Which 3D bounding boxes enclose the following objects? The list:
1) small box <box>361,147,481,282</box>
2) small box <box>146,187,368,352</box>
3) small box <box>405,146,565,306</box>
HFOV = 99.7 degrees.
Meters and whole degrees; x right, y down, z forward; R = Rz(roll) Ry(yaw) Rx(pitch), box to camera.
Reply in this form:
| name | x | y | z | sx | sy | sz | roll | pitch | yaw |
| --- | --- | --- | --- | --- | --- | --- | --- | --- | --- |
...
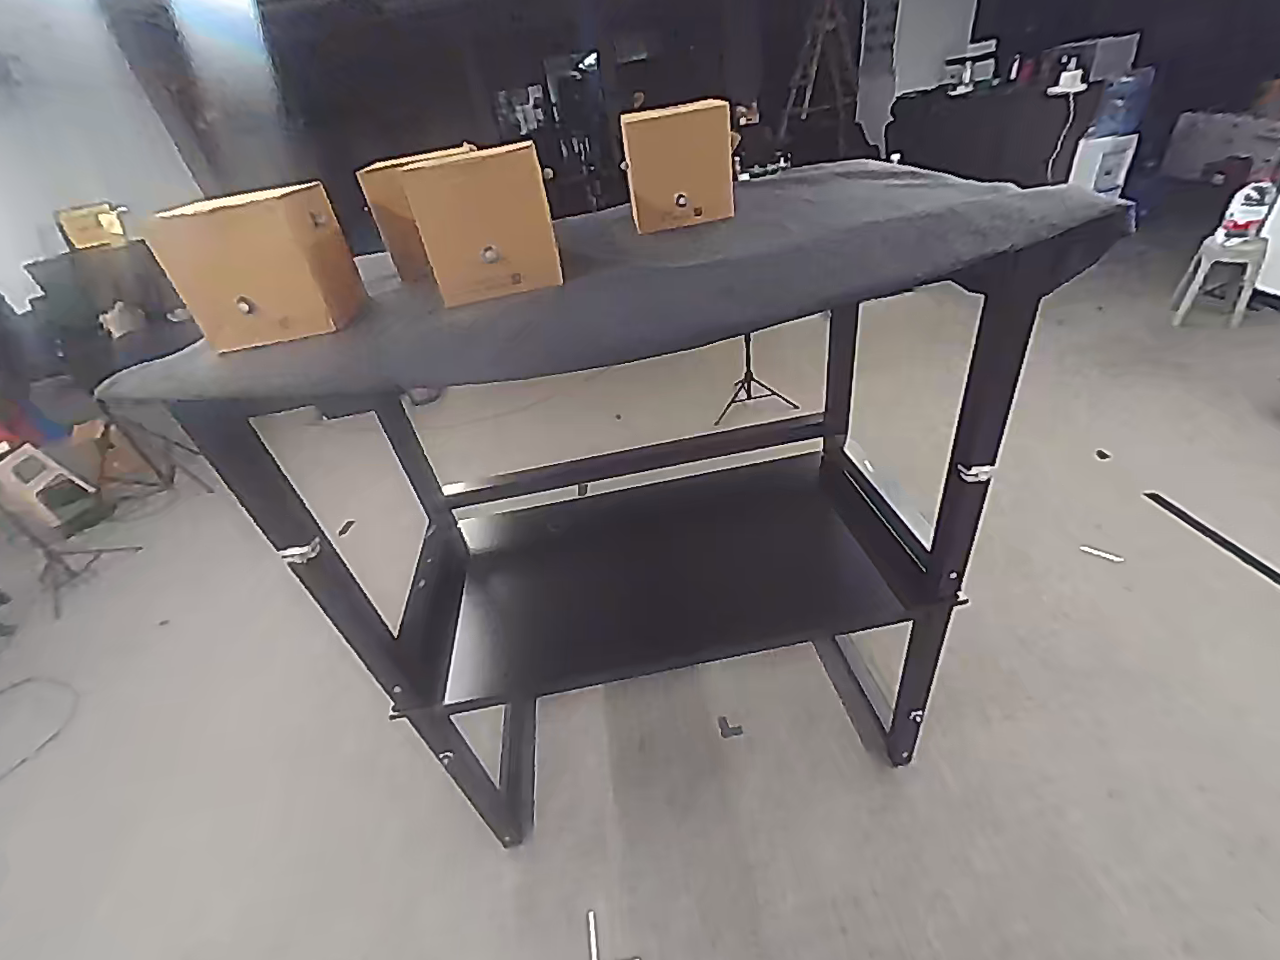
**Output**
| name | x | y | z | sx | sy | sz | roll | pitch | yaw |
| --- | --- | --- | --- | --- | --- | --- | --- | --- | --- |
| small box | -0.346 | -0.463 | 0.941 | 0.179 | 0.176 | 0.168 | -12 | 36 | -4 |
| small box | -0.504 | -0.294 | 0.750 | 0.168 | 0.176 | 0.179 | -12 | 35 | -4 |
| small box | -0.206 | -0.362 | 0.770 | 0.168 | 0.176 | 0.179 | -12 | 35 | -2 |
